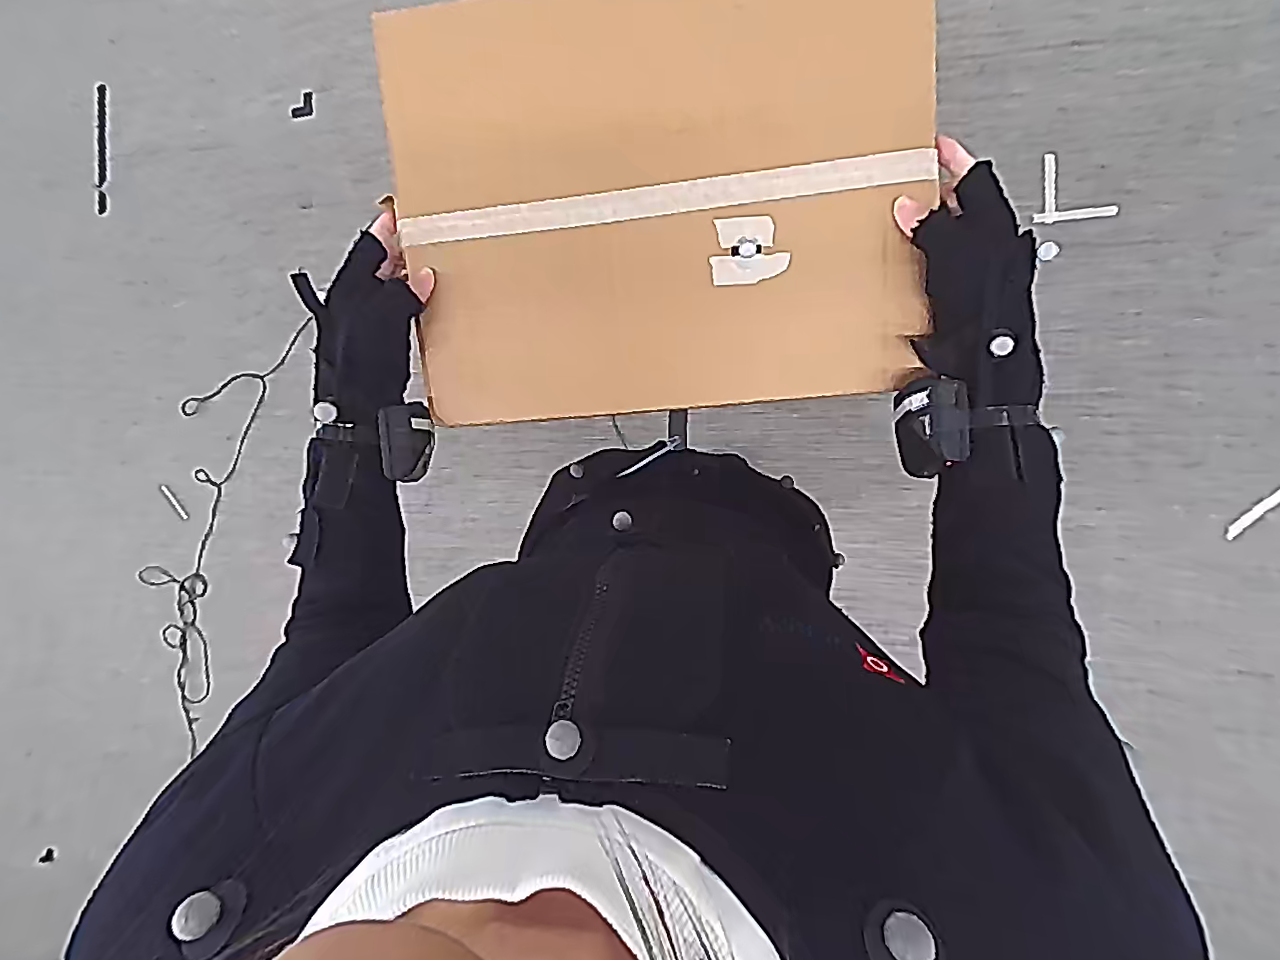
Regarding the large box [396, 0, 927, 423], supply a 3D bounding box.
[{"bbox_3d":[0.029,-0.239,0.572,0.408,0.320,0.320,-4,99,6],"label":"large box"}]
